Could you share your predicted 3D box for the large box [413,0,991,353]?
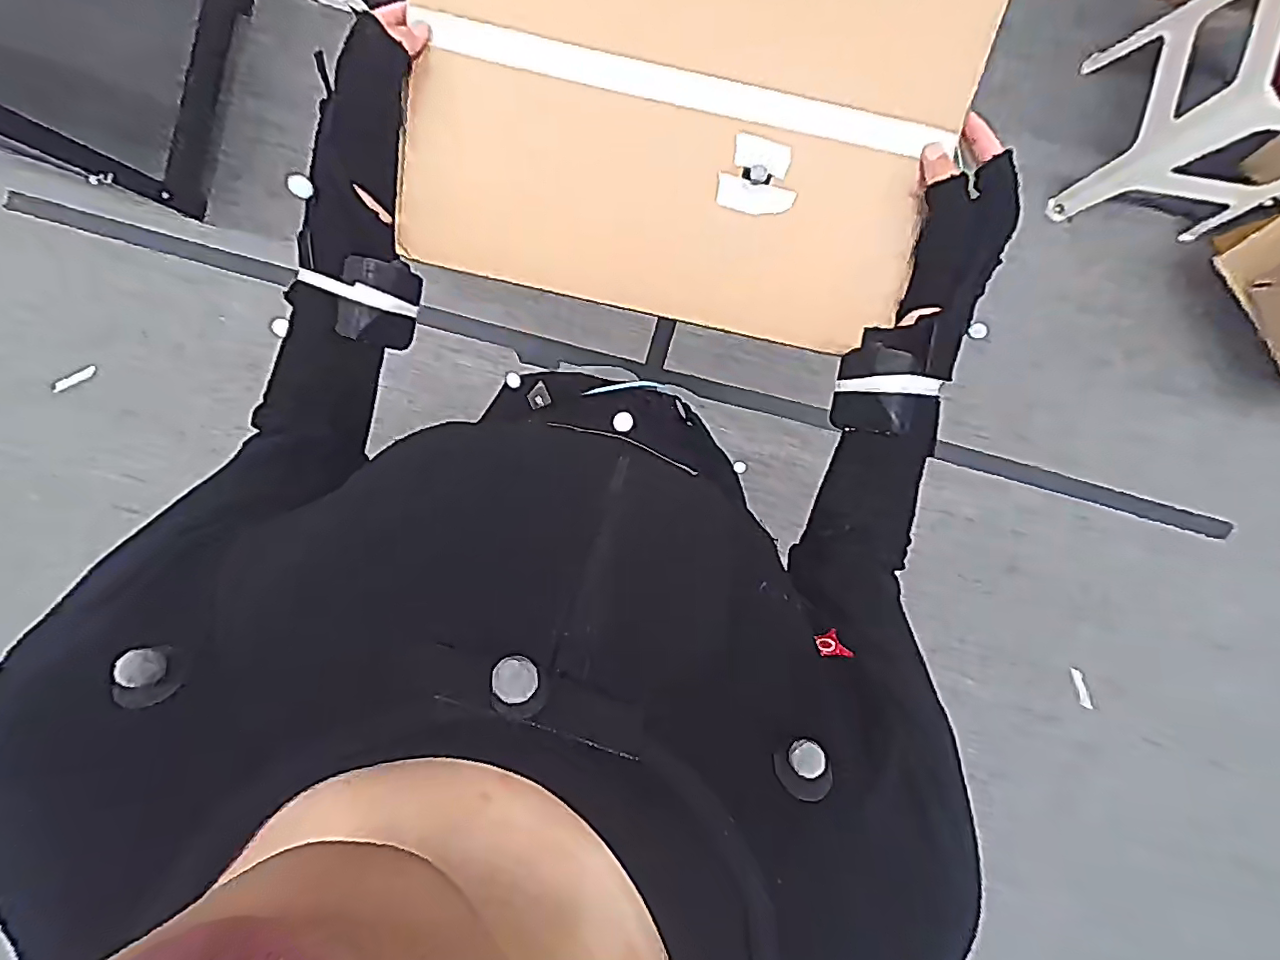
[{"bbox_3d":[0.036,-0.332,0.547,0.408,0.320,0.320,12,109,-3],"label":"large box"}]
